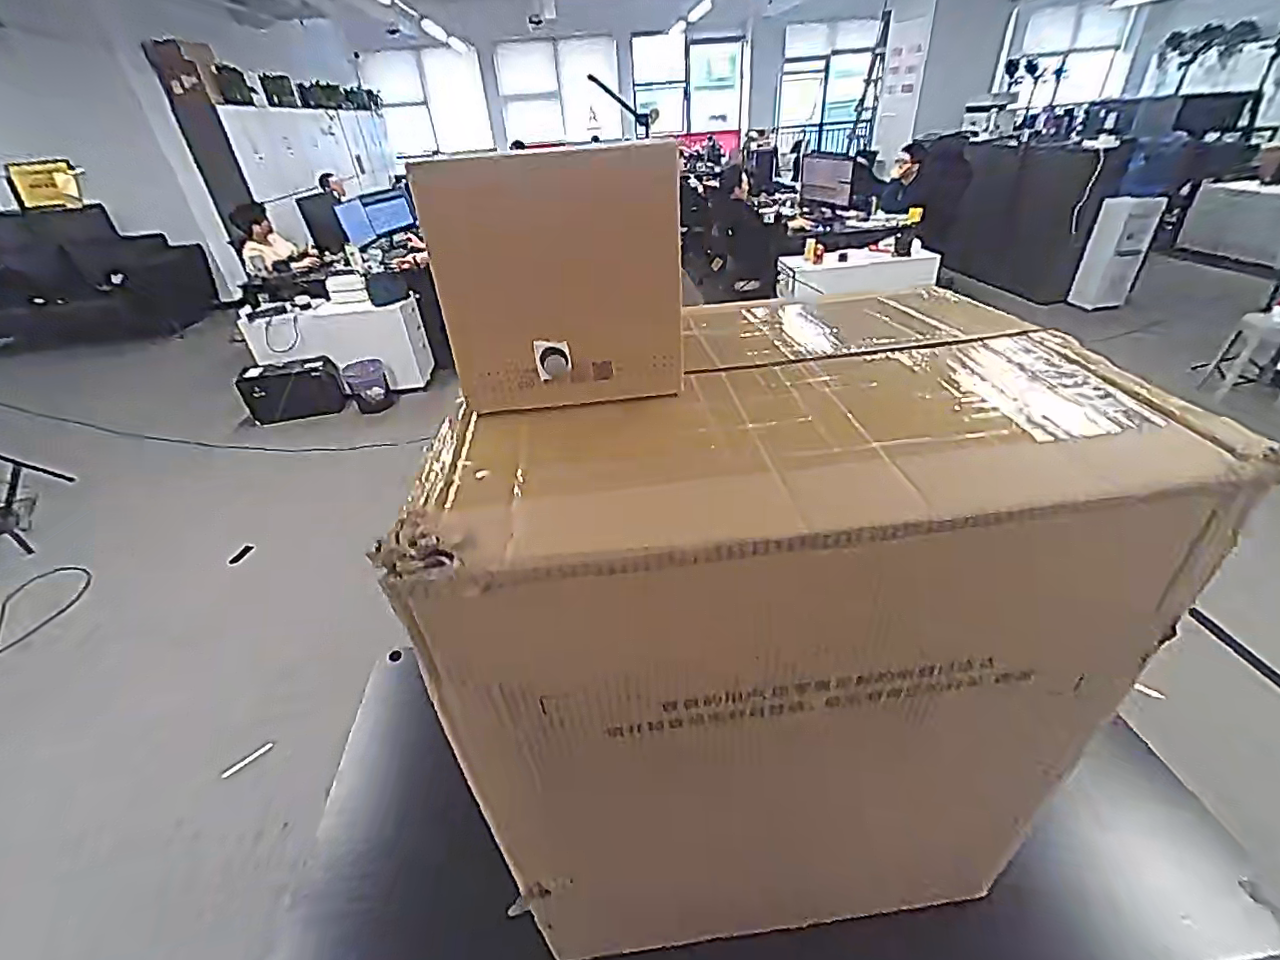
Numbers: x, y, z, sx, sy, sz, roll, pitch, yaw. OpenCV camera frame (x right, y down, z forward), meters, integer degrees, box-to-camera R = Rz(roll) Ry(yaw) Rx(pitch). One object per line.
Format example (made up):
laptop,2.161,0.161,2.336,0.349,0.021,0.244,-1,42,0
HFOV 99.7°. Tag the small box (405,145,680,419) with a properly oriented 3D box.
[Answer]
small box,-0.065,-0.165,0.437,0.168,0.176,0.179,-9,33,-5
